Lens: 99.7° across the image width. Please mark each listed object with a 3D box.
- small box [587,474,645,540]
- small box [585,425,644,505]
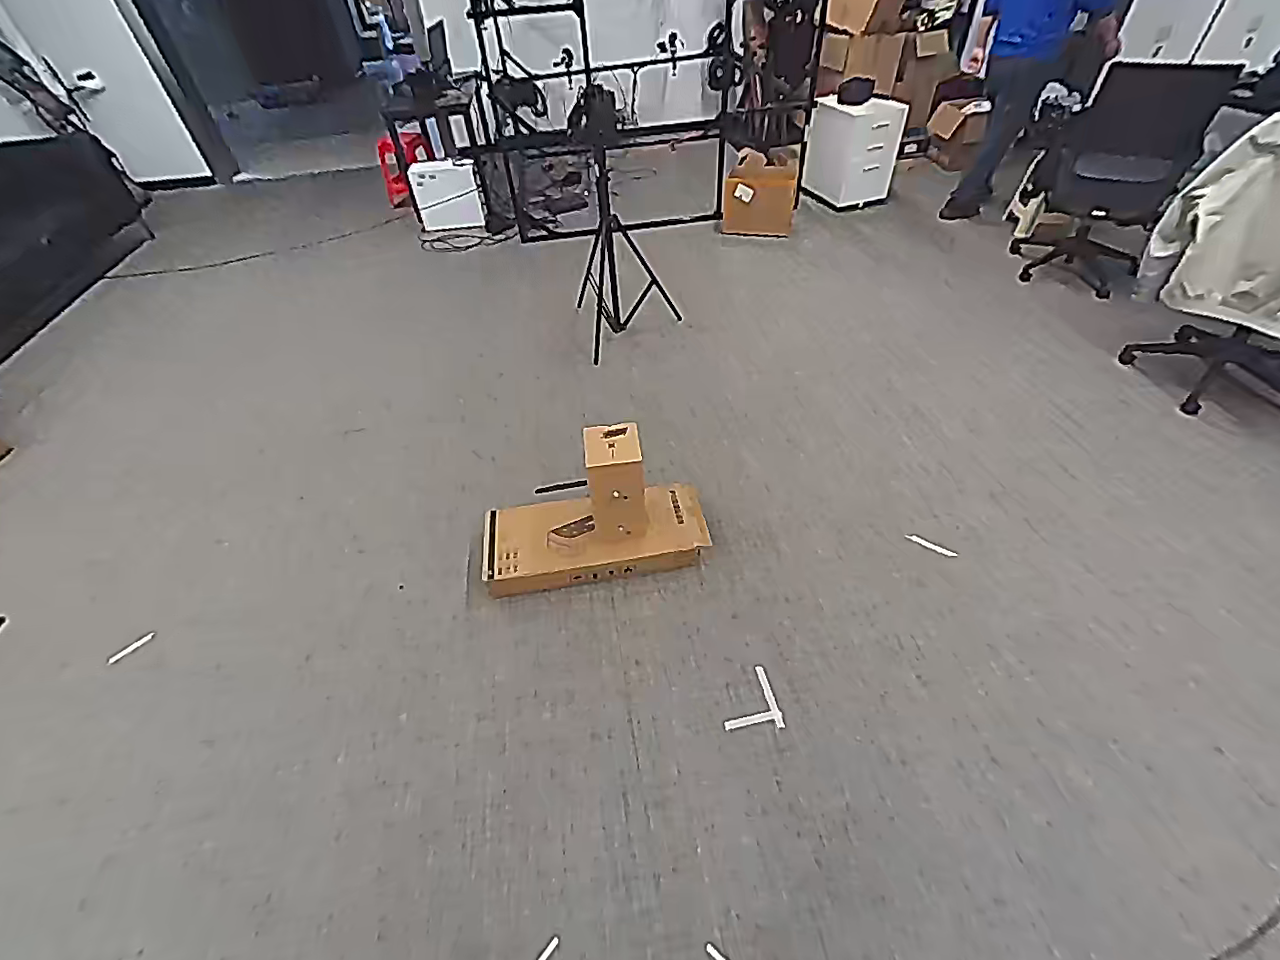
[{"bbox_3d":[-0.078,0.073,1.781,0.168,0.176,0.179,-10,45,-4],"label":"small box"},{"bbox_3d":[-0.079,-0.046,1.667,0.168,0.176,0.179,-7,45,-2],"label":"small box"}]
